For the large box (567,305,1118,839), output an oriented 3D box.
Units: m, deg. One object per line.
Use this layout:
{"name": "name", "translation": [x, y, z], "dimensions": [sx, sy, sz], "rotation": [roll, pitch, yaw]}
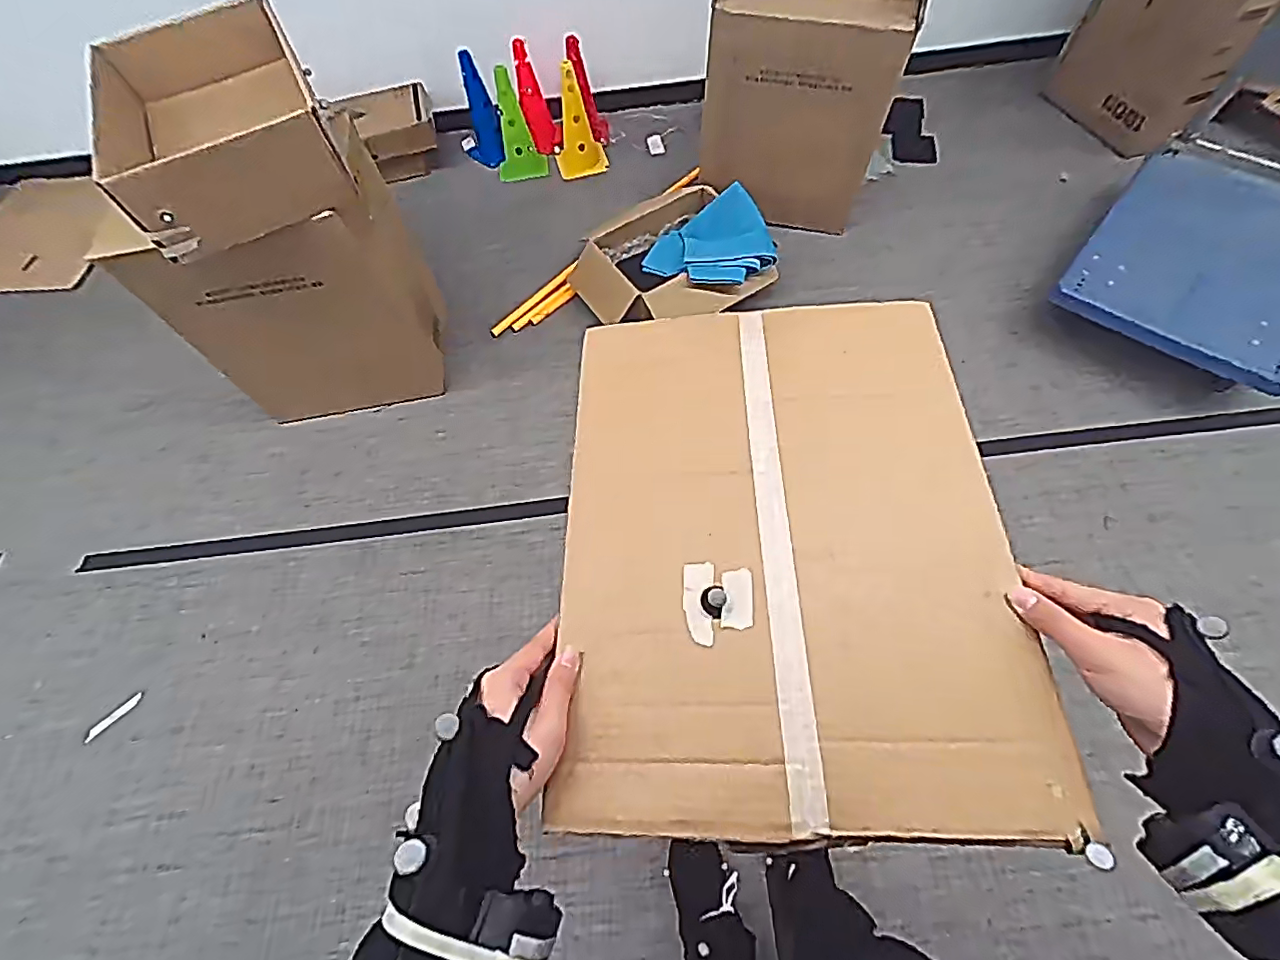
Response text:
{"name": "large box", "translation": [0.122, 0.095, 0.528], "dimensions": [0.320, 0.320, 0.408], "rotation": [-3, 61, 7]}
